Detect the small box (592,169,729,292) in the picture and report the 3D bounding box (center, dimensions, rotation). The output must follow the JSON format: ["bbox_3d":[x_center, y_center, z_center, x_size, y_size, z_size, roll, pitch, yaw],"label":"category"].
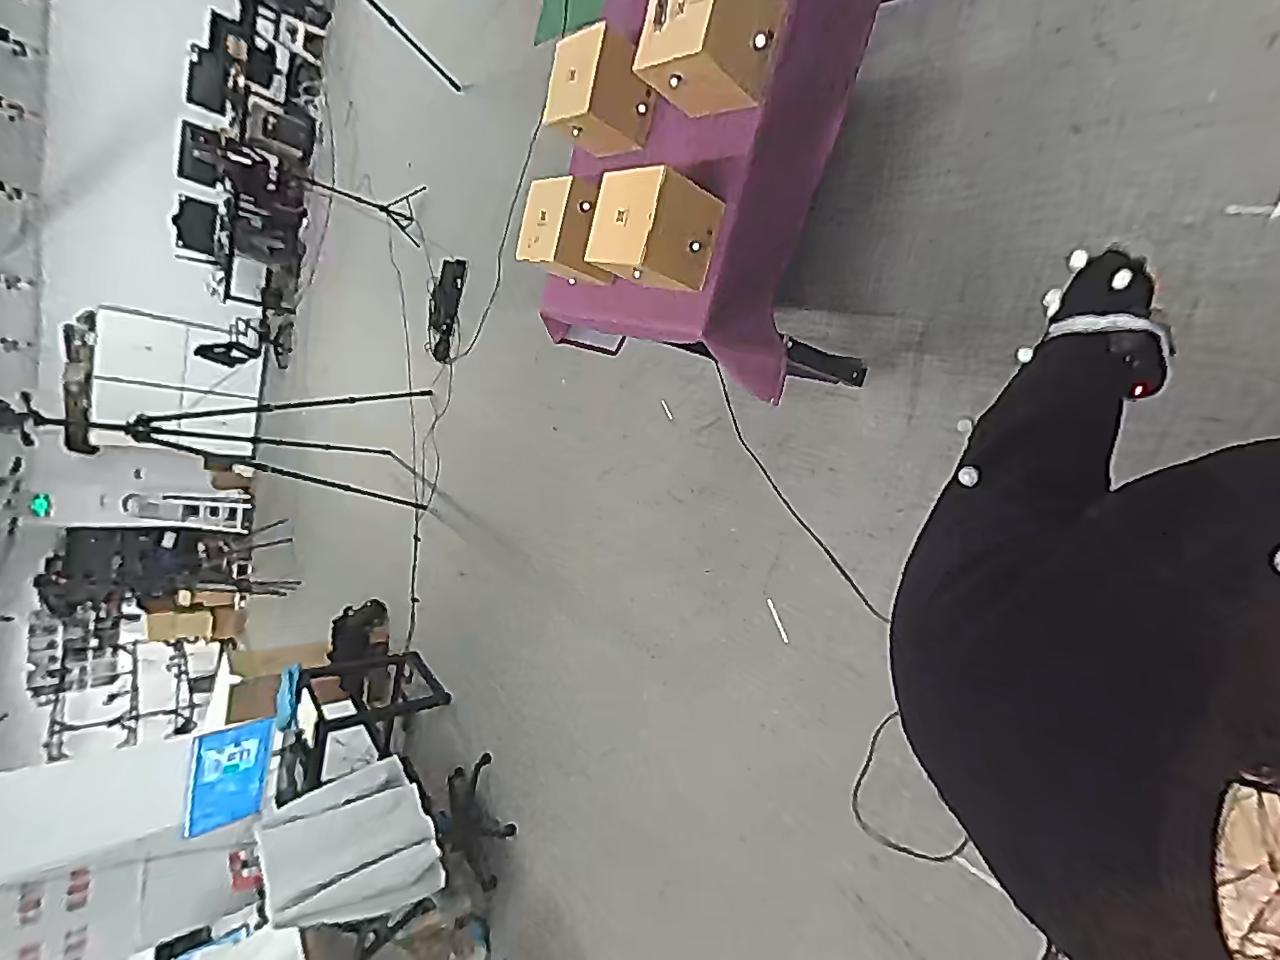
[{"bbox_3d":[0.040,-0.474,1.050,0.179,0.176,0.168,27,105,44],"label":"small box"}]

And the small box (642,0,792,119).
[{"bbox_3d":[0.137,-0.782,0.971,0.179,0.176,0.168,28,107,44],"label":"small box"}]

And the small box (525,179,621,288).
[{"bbox_3d":[-0.135,-0.561,1.240,0.168,0.176,0.179,27,106,45],"label":"small box"}]
